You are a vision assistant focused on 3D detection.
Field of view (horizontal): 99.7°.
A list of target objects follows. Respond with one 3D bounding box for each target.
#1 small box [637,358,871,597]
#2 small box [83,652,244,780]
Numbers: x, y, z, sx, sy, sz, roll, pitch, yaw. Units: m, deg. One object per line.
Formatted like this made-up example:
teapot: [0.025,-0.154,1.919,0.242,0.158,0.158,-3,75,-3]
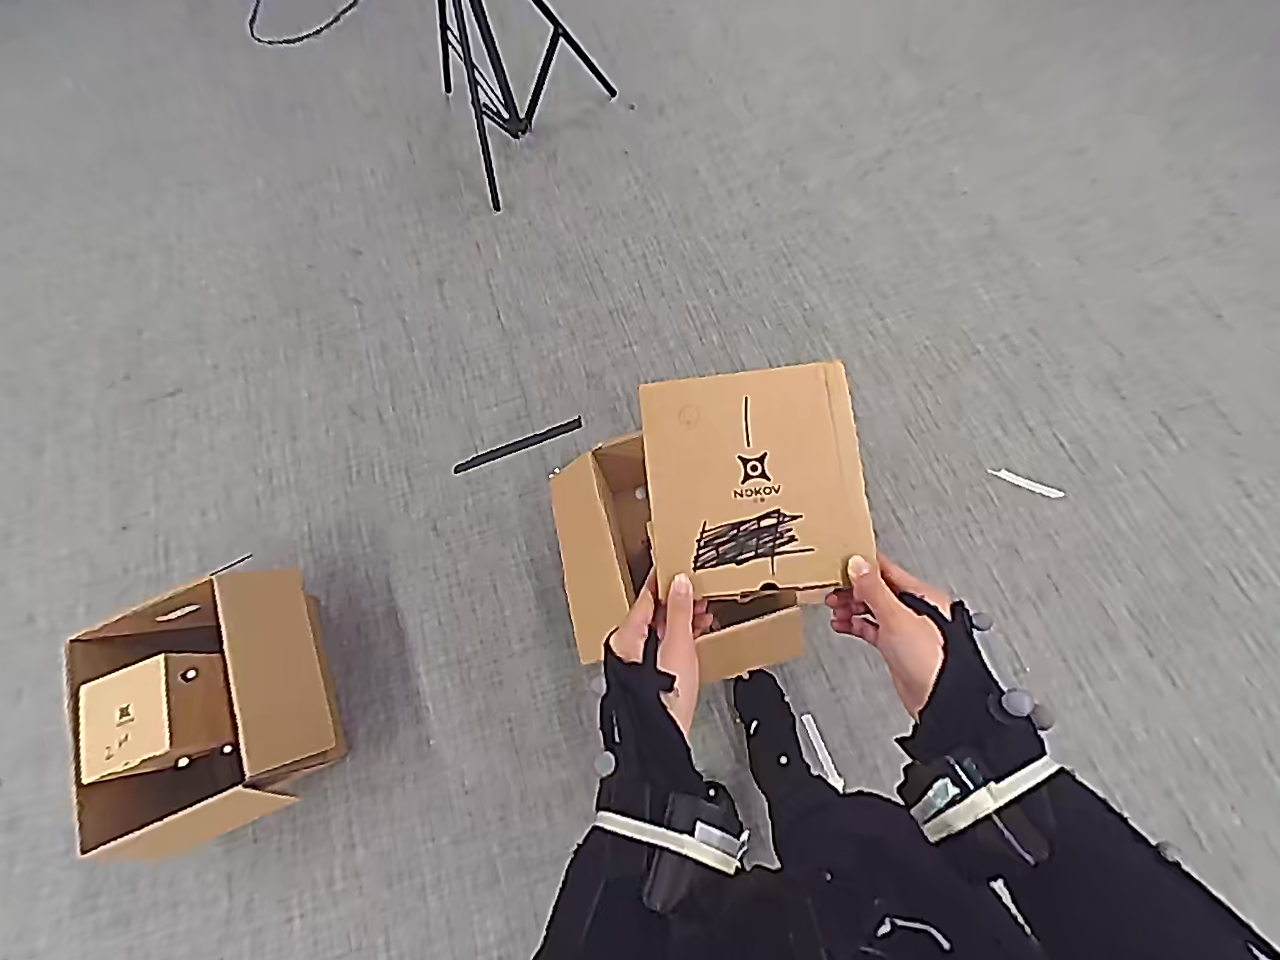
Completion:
small box: [0.092,0.008,0.499,0.168,0.176,0.179,-6,80,3]
small box: [-0.913,0.449,1.049,0.168,0.176,0.179,-21,70,-1]
